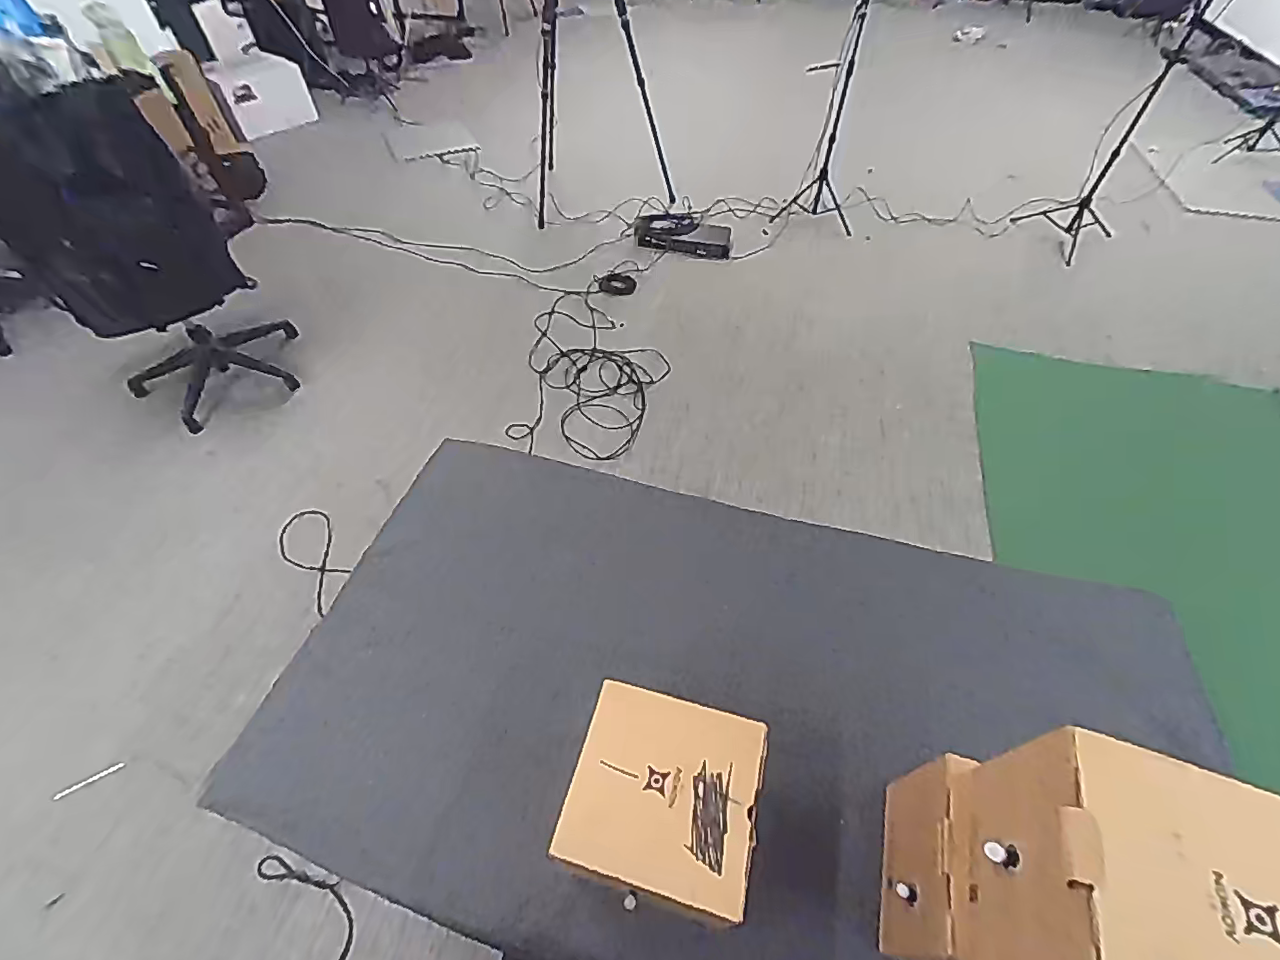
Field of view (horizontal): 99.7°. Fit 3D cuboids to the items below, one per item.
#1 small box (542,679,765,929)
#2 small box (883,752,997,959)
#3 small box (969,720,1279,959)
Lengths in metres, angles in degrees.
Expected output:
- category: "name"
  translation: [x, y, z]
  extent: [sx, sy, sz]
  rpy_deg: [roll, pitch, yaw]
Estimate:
- category: "small box"
  translation: [0.020, 0.337, 0.565]
  extent: [0.179, 0.176, 0.168]
  rpy_deg: [12, 50, 12]
- category: "small box"
  translation: [0.352, 0.394, 0.521]
  extent: [0.179, 0.176, 0.168]
  rpy_deg: [15, 53, 11]
- category: "small box"
  translation: [0.359, 0.305, 0.382]
  extent: [0.179, 0.176, 0.168]
  rpy_deg: [17, 53, 14]
